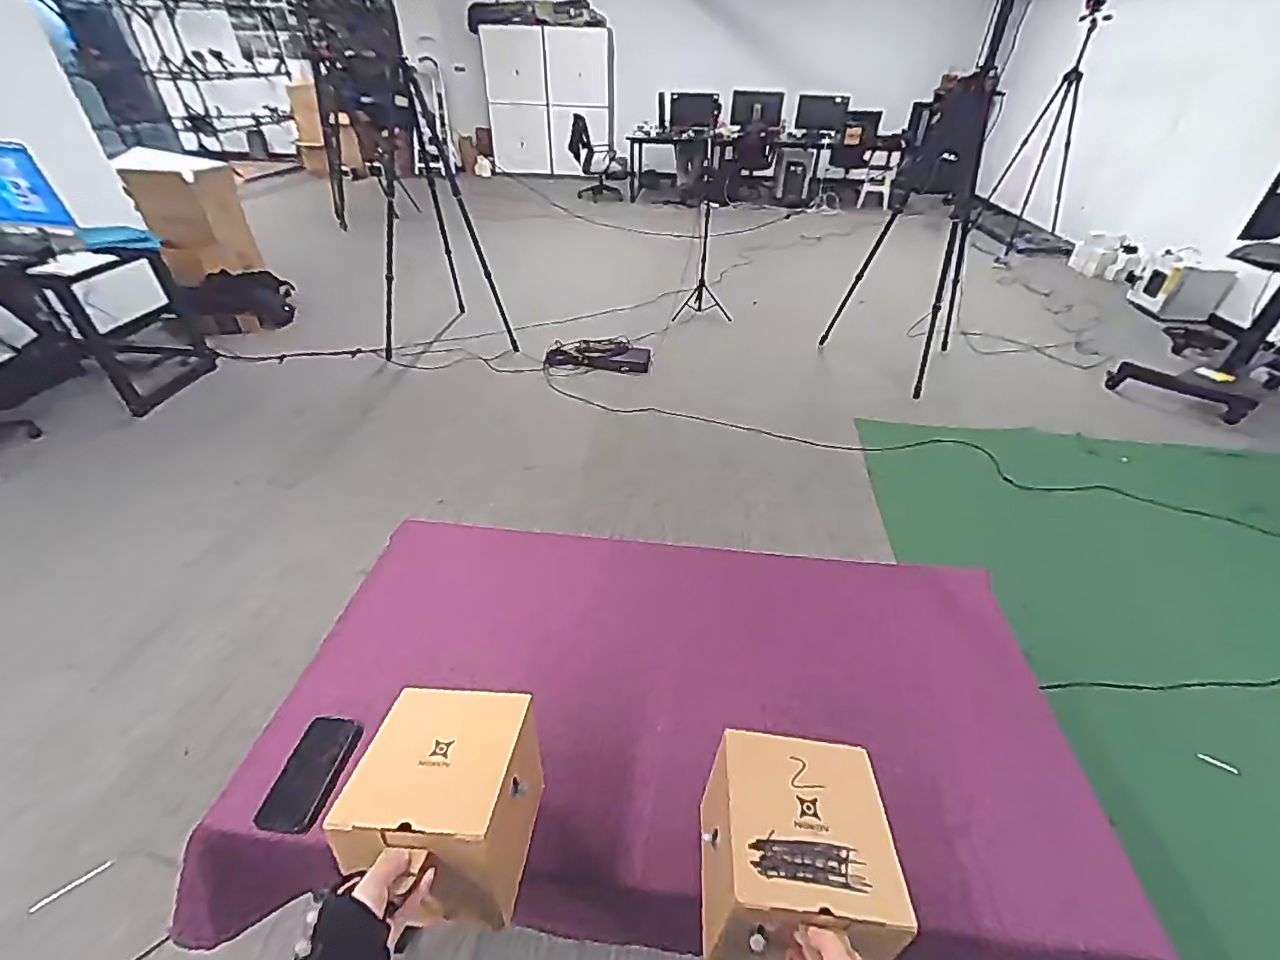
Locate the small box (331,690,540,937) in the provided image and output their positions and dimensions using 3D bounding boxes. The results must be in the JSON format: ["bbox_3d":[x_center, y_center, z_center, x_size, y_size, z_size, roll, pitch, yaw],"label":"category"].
[{"bbox_3d":[-0.217,0.378,0.629,0.168,0.176,0.179,2,26,4],"label":"small box"}]
